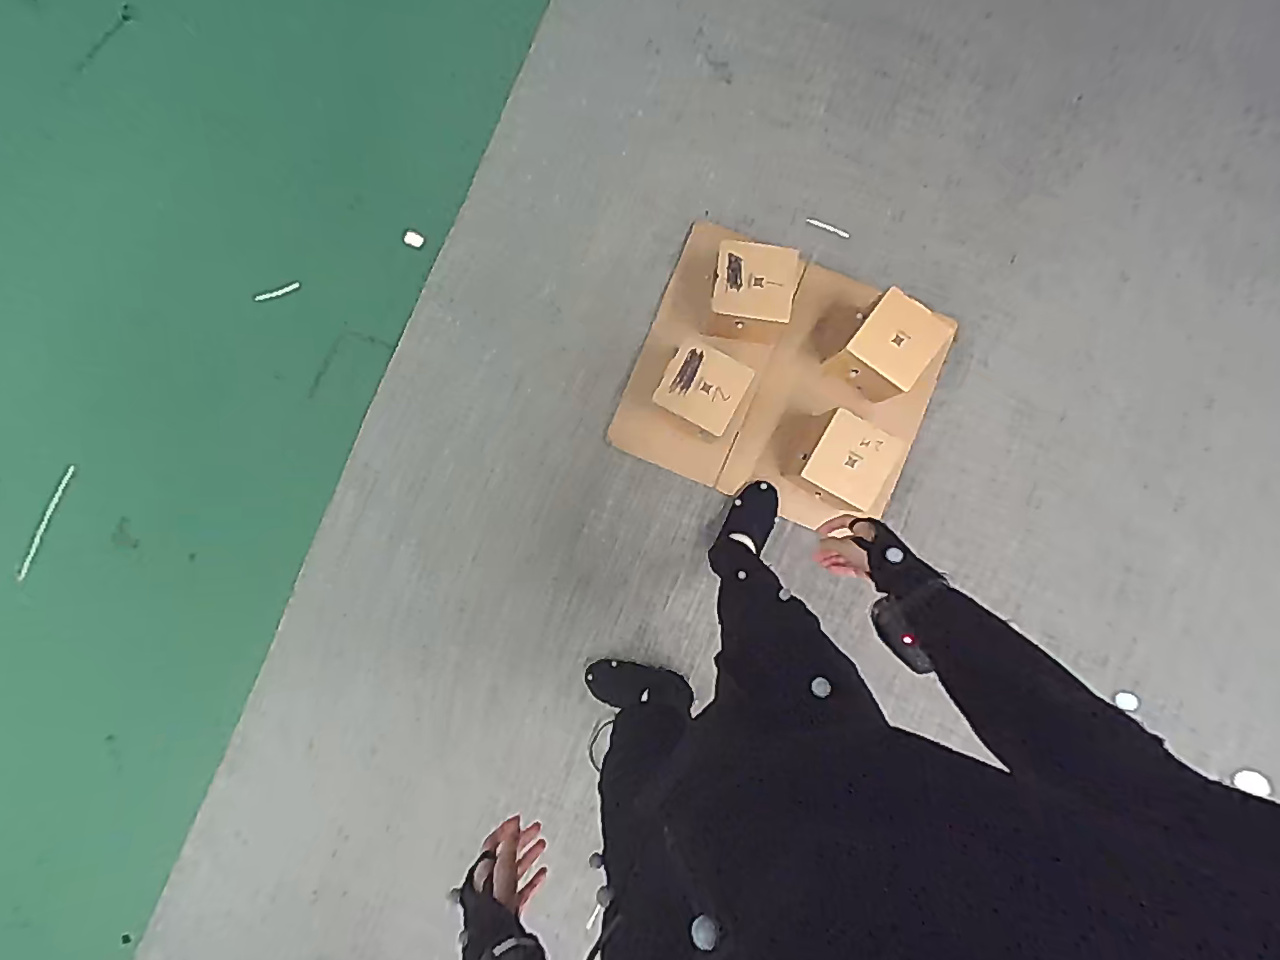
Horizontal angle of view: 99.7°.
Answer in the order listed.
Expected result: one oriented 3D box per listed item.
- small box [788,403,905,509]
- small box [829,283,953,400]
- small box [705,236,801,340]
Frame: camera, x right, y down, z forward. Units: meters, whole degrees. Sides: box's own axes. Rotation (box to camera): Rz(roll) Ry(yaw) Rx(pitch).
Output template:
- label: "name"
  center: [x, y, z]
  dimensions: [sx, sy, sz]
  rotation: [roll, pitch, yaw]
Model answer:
- label: "small box"
  center: [0.457, -0.049, 1.233]
  dimensions: [0.168, 0.176, 0.179]
  rotation: [30, 89, 1]
- label: "small box"
  center: [0.560, -0.306, 1.241]
  dimensions: [0.168, 0.176, 0.179]
  rotation: [37, 88, 2]
- label: "small box"
  center: [0.253, -0.436, 1.252]
  dimensions: [0.179, 0.176, 0.168]
  rotation: [9, 88, 0]
